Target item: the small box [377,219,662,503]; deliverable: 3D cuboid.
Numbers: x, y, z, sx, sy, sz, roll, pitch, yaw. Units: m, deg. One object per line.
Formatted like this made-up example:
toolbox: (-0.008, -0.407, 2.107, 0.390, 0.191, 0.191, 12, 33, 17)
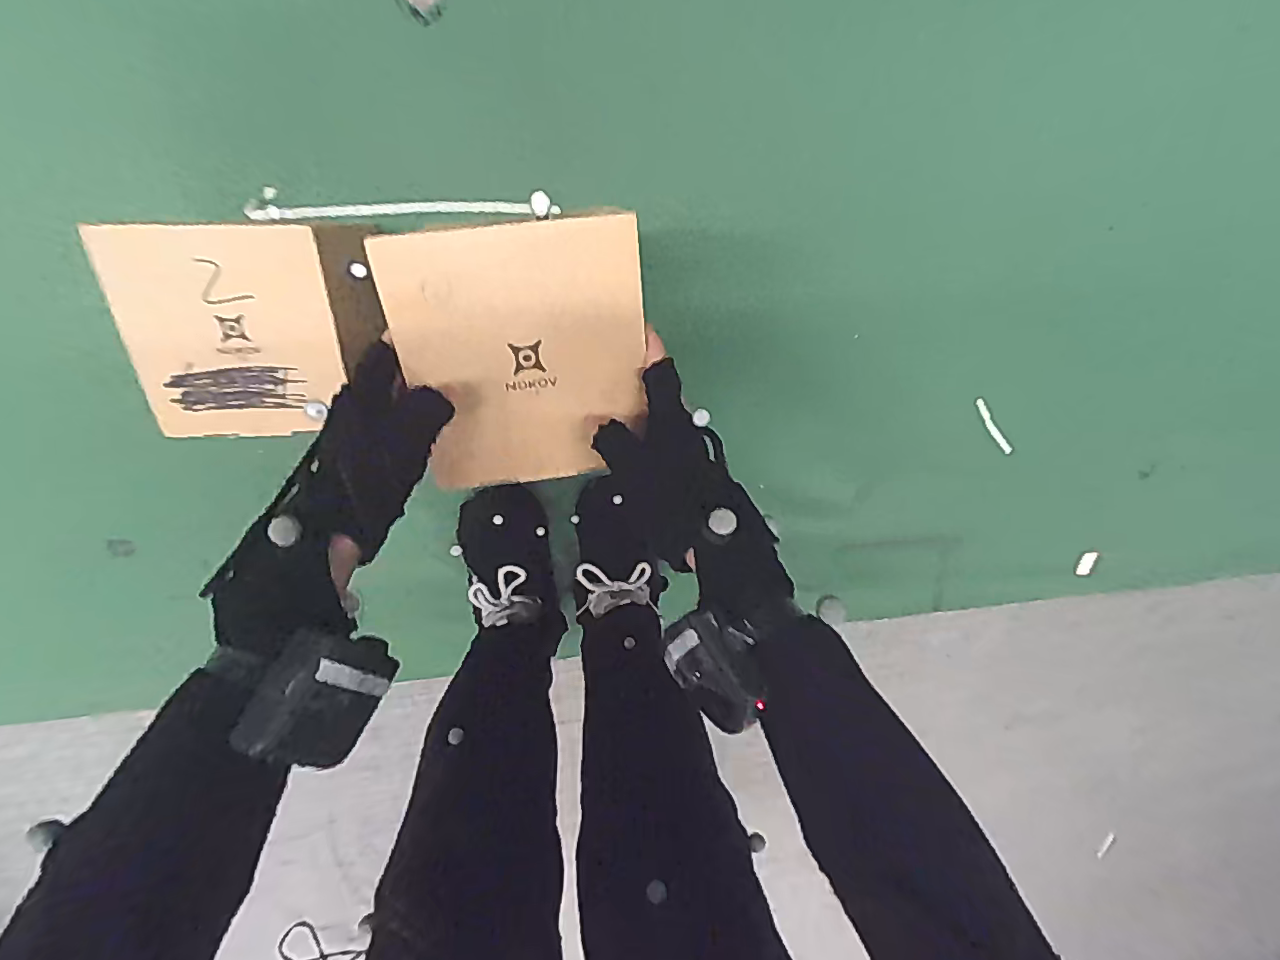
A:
small box: (-0.081, -0.107, 0.433, 0.168, 0.176, 0.179, -8, 119, -4)
